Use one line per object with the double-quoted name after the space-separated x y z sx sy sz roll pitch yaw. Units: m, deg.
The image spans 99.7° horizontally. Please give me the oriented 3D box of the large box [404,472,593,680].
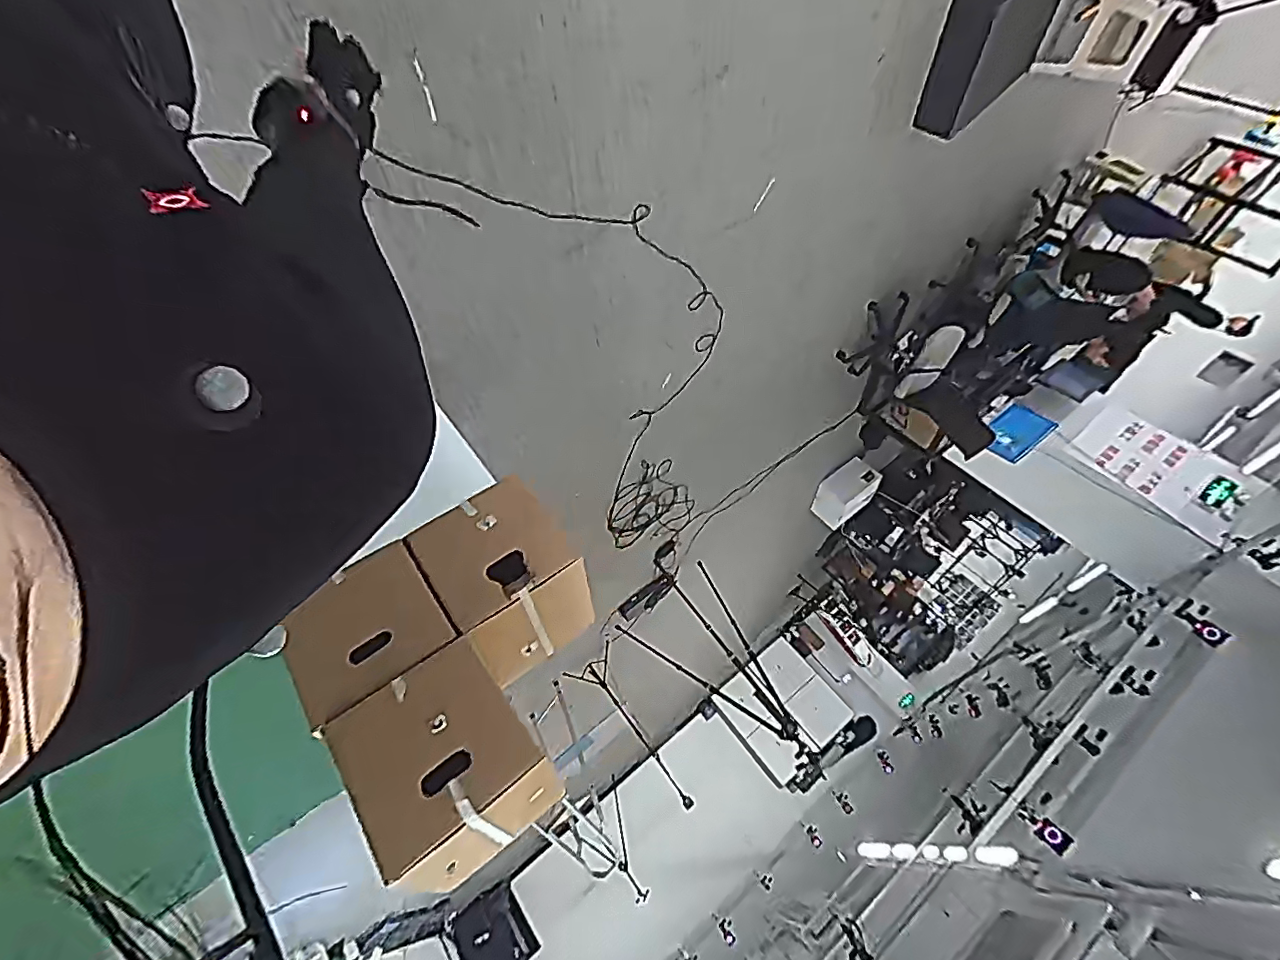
-0.350 0.256 1.417 0.320 0.320 0.408 -32 150 -20 "large box"
